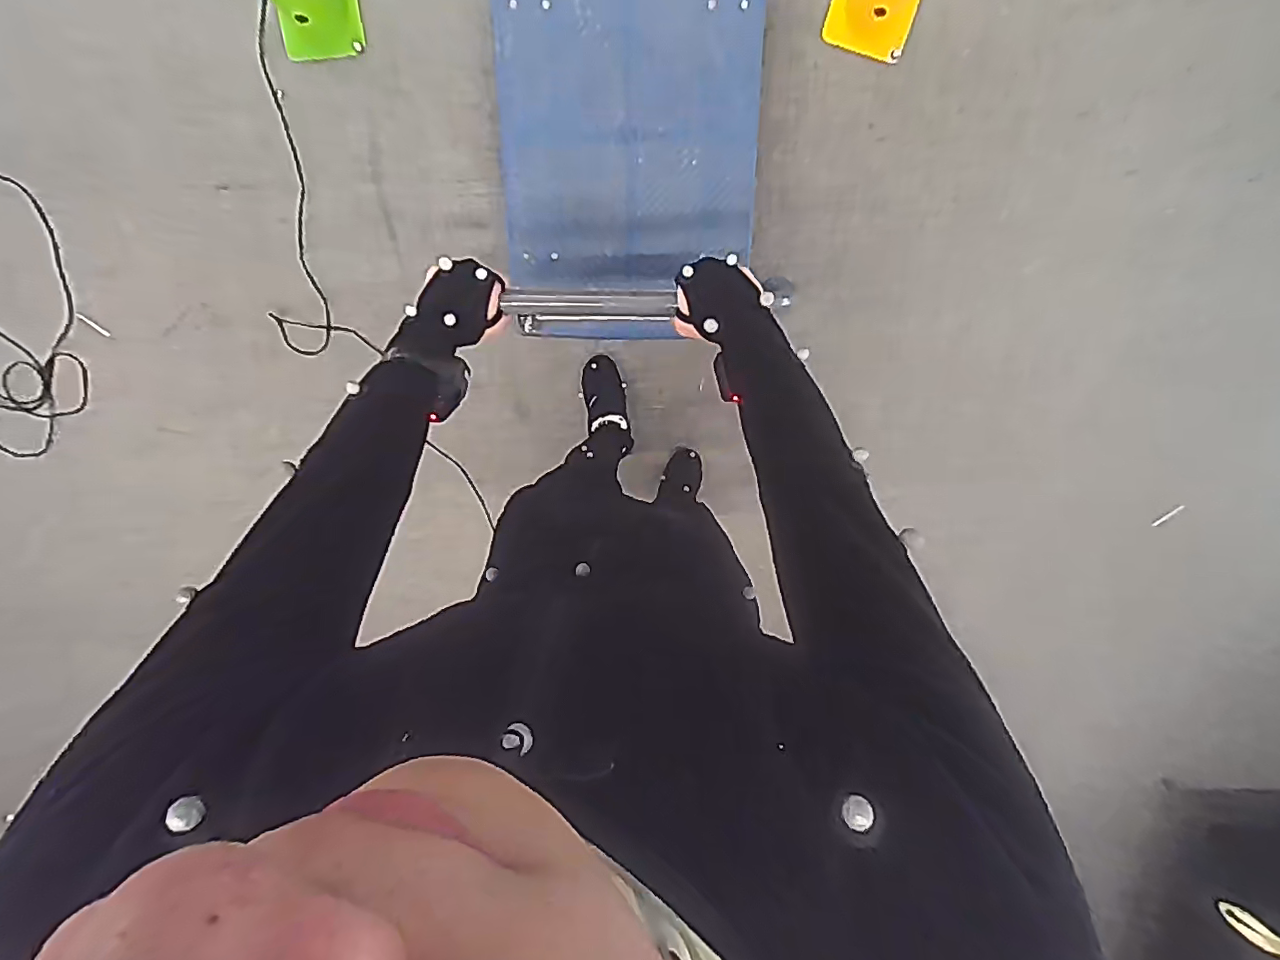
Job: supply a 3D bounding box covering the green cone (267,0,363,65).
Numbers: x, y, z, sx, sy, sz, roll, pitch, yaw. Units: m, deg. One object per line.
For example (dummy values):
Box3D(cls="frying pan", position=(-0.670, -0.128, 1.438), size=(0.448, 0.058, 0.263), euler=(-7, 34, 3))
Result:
Box3D(cls="green cone", position=(-0.789, -1.080, 1.137), size=(0.202, 0.368, 0.200), euler=(-4, 105, 4))
